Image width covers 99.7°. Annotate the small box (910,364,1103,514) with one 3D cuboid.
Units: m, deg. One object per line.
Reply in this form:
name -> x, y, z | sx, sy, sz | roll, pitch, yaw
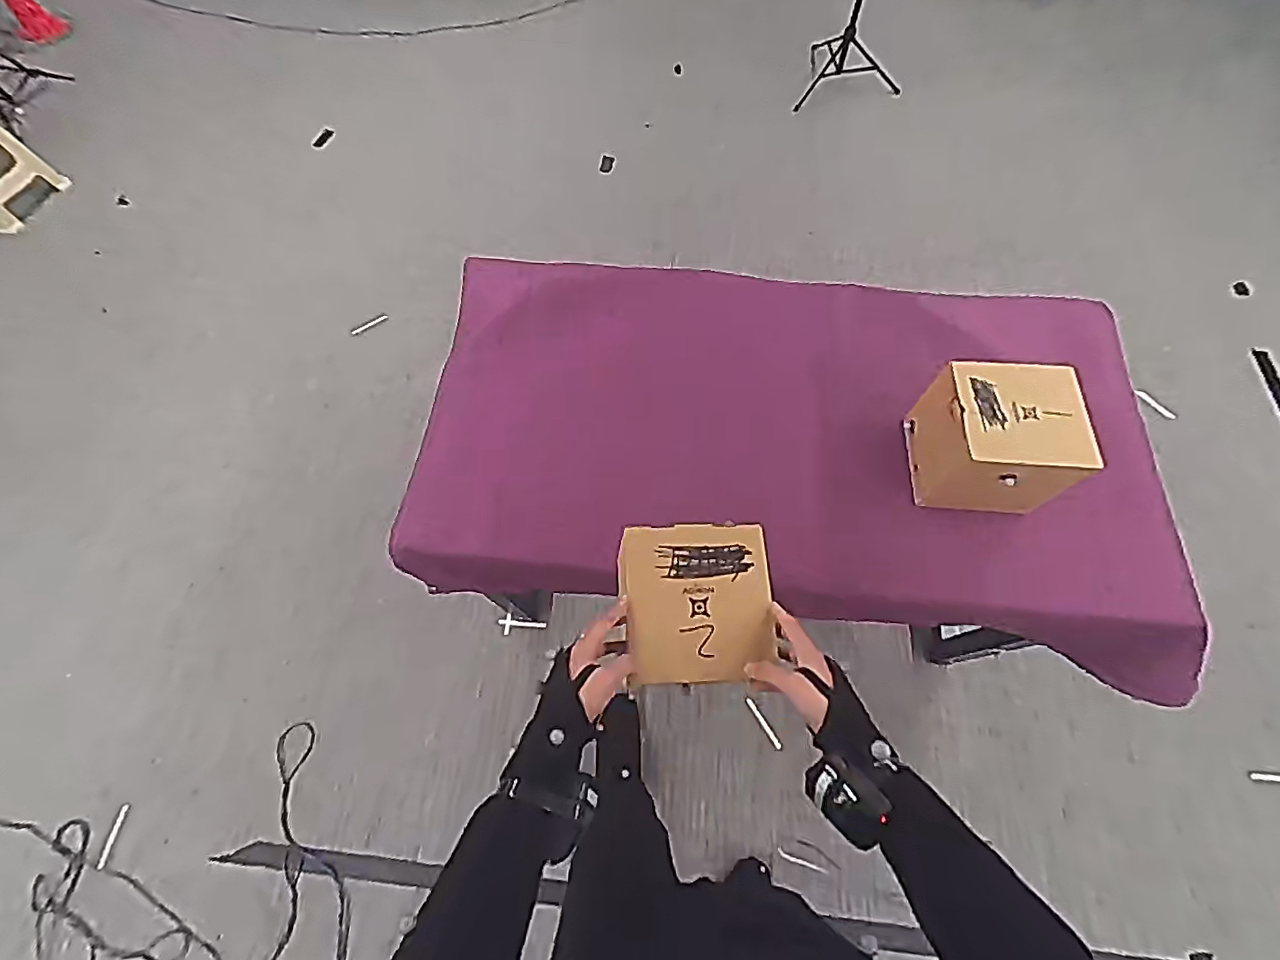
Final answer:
small box -> 0.531, -0.055, 0.819 | 0.179, 0.176, 0.168 | 4, 66, 3
